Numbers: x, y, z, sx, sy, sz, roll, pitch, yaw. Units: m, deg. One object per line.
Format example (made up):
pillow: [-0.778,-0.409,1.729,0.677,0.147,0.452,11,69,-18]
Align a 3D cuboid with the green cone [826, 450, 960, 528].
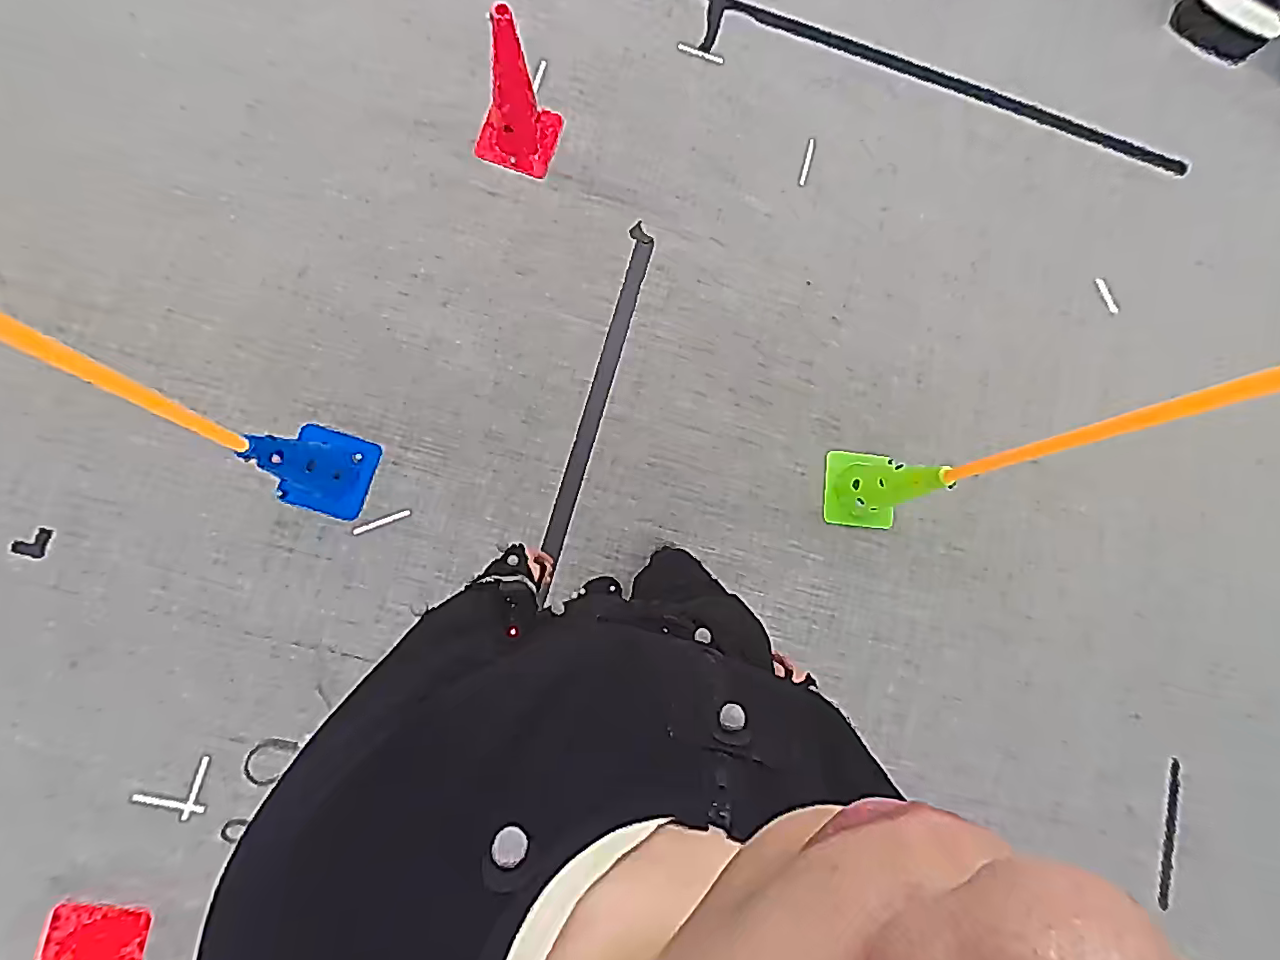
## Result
green cone: [0.621,0.009,1.296,0.200,0.368,0.202,5,84,-6]

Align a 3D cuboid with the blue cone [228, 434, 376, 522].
blue cone: [-0.736,-0.025,1.150,0.193,0.380,0.192,19,82,-4]

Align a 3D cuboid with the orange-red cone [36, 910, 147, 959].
orange-red cone: [-1.135,0.995,0.963,0.199,0.360,0.198,11,82,-7]
